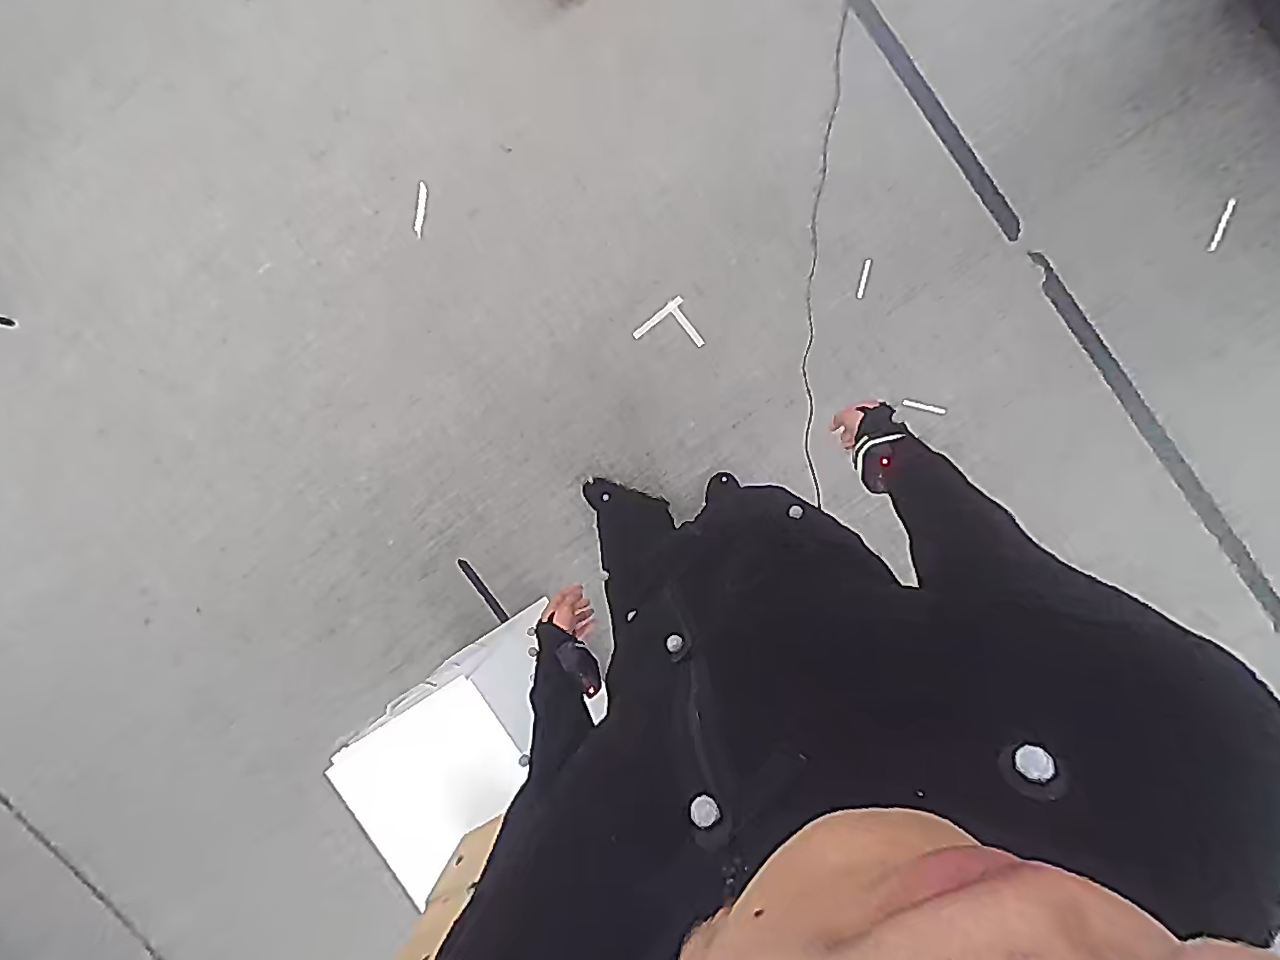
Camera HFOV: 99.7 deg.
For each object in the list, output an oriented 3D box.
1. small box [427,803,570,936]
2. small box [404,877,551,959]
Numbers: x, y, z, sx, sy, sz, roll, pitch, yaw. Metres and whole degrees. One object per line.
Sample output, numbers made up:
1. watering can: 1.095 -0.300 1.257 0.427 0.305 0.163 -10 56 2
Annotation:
1. small box: -0.258 0.770 1.031 0.179 0.176 0.168 -33 92 8
2. small box: -0.271 0.790 0.869 0.168 0.176 0.179 -37 92 9
